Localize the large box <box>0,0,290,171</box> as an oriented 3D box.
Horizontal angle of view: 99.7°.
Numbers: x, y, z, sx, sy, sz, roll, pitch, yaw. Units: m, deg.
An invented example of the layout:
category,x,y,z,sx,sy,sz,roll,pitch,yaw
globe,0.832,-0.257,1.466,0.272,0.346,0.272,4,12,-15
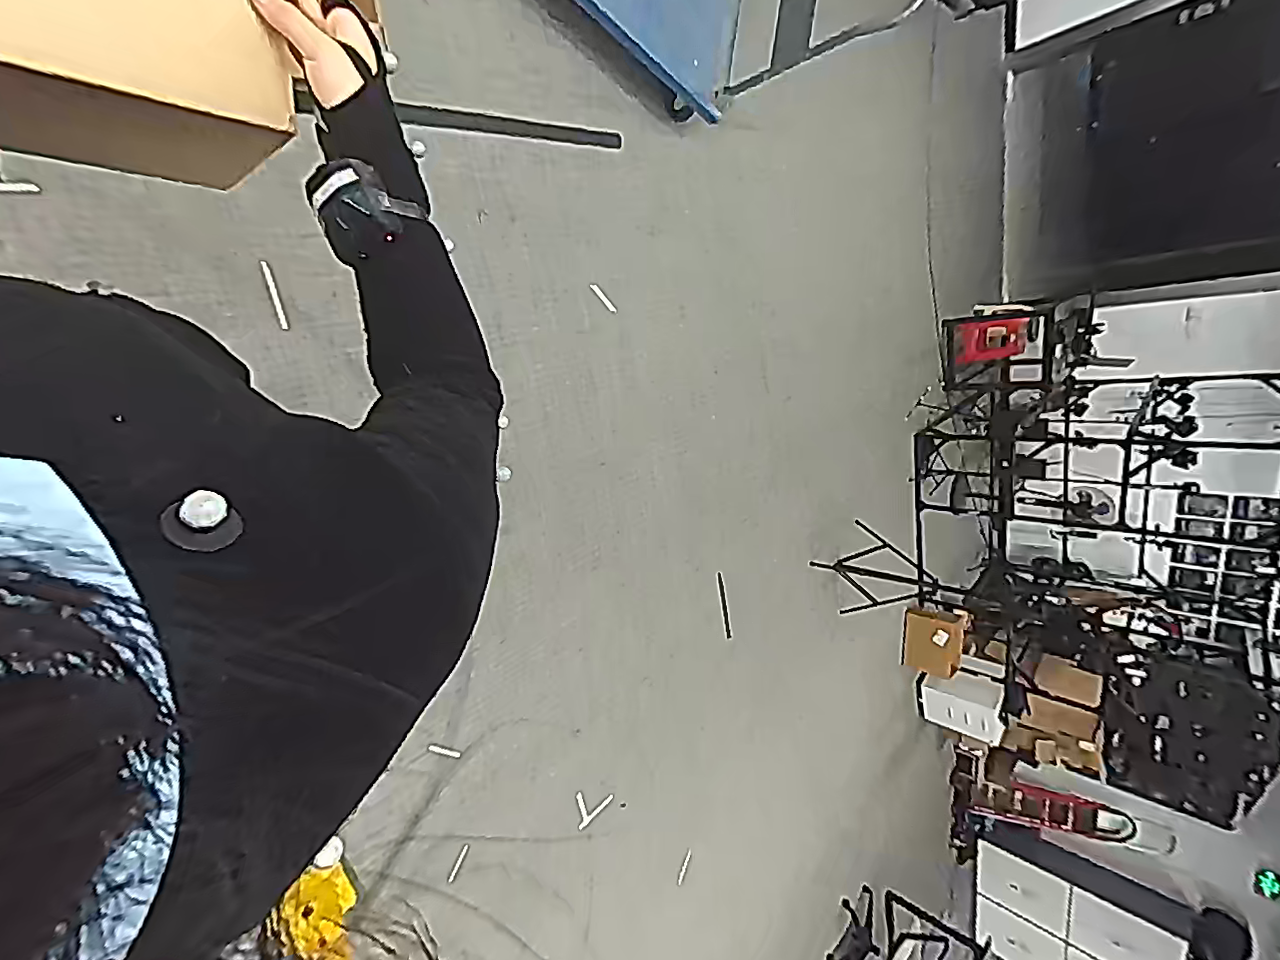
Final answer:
category,x,y,z,sx,sy,sz,roll,pitch,yaw
large box,-0.520,-0.439,0.366,0.408,0.320,0.320,-12,110,-42
